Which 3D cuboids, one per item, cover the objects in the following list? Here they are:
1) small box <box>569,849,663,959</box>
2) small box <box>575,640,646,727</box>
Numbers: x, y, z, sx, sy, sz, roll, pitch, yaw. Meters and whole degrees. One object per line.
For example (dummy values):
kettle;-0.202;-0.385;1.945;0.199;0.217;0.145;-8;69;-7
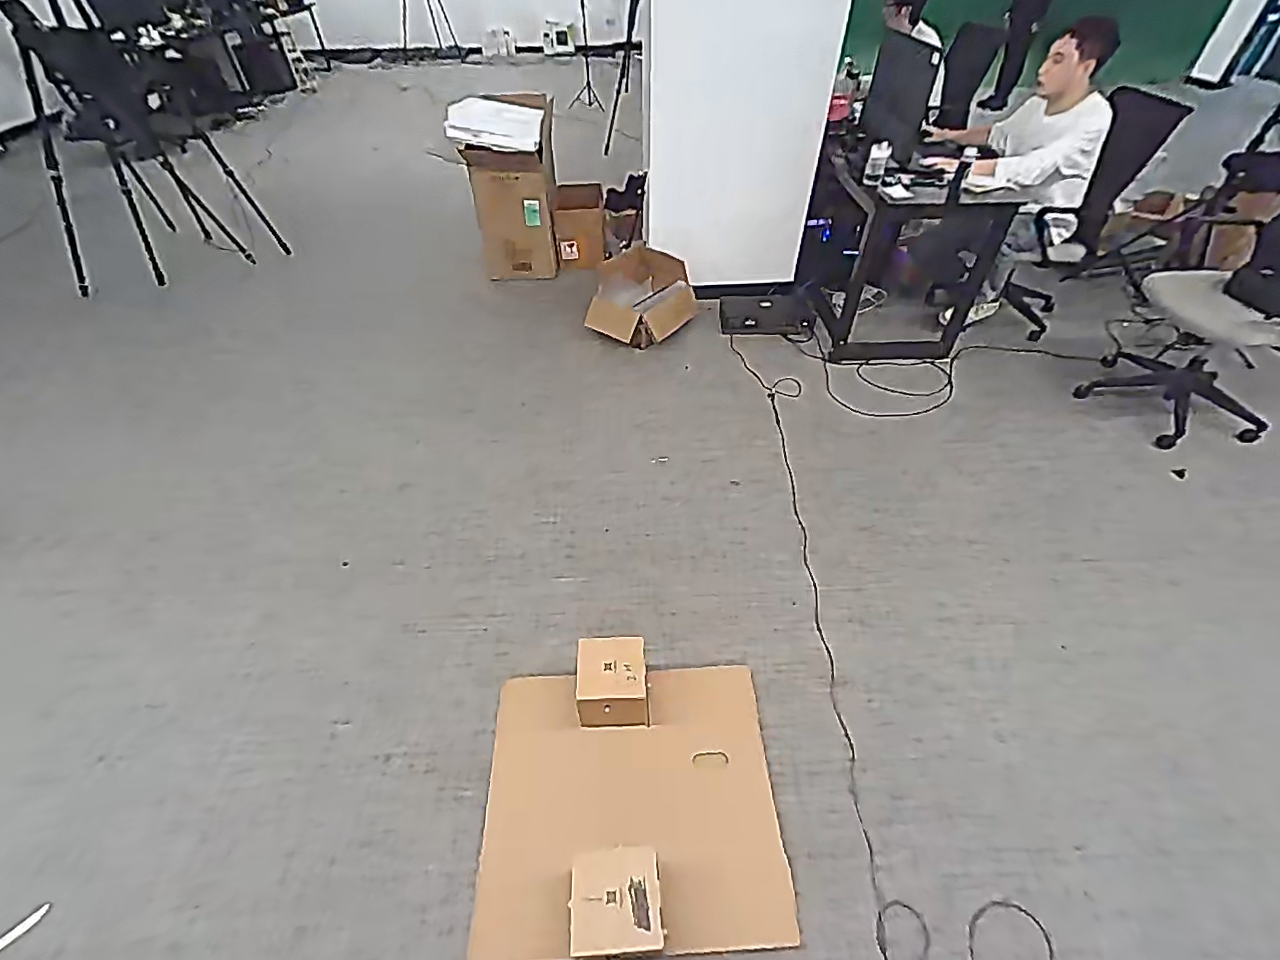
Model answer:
small box;-0.049;0.872;1.108;0.179;0.176;0.168;-3;46;-2
small box;-0.073;0.541;1.430;0.179;0.176;0.168;0;46;-1
